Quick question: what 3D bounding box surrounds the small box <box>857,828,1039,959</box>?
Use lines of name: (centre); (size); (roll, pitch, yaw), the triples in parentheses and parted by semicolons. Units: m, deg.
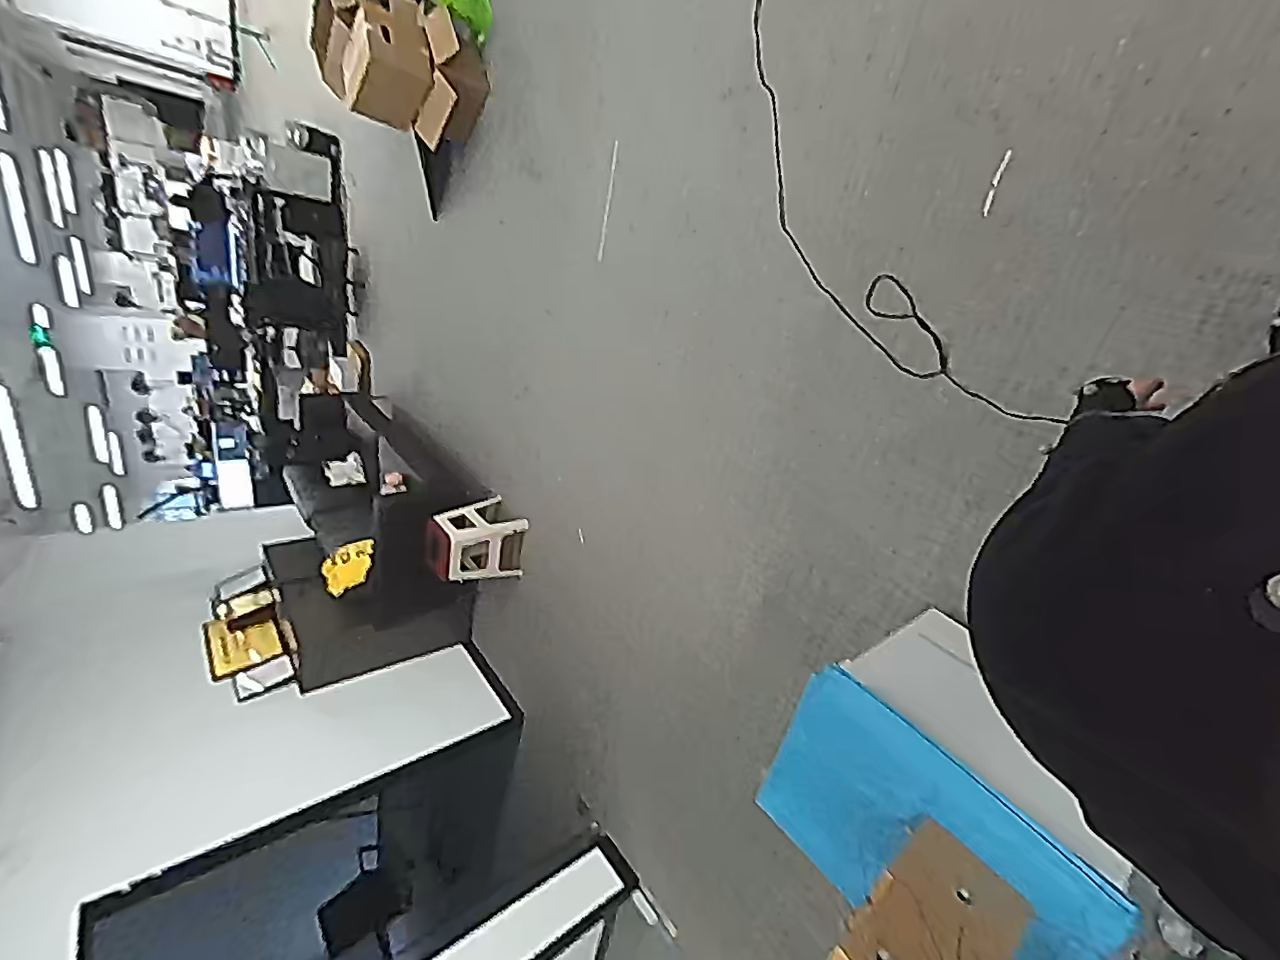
small box: (0.494, 0.707, 0.872); (0.179, 0.176, 0.168); (34, 122, 40)

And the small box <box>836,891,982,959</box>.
small box: (0.376, 0.730, 0.758); (0.179, 0.176, 0.168); (34, 122, 40)
